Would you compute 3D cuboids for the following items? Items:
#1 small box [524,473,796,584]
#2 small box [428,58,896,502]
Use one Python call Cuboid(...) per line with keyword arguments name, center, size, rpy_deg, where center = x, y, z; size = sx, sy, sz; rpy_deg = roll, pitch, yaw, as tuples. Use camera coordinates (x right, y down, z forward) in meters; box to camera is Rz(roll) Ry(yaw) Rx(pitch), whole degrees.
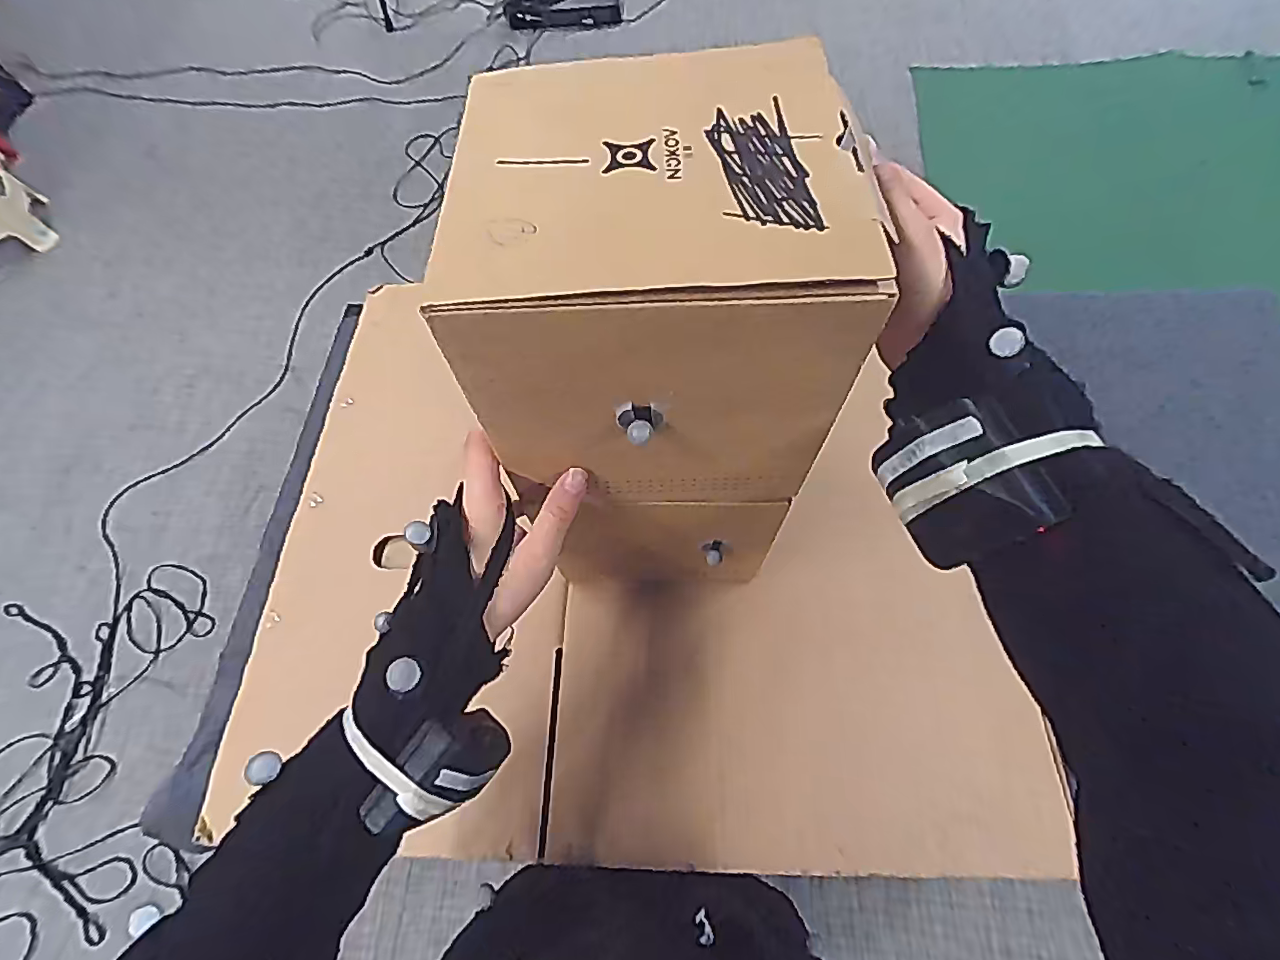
Cuboid(name="small box", center=(0.016, -0.017, 0.449), size=(0.179, 0.176, 0.168), rpy_deg=(-1, 62, 3))
Cuboid(name="small box", center=(0.010, -0.096, 0.305), size=(0.179, 0.176, 0.168), rpy_deg=(-2, 62, 2))
